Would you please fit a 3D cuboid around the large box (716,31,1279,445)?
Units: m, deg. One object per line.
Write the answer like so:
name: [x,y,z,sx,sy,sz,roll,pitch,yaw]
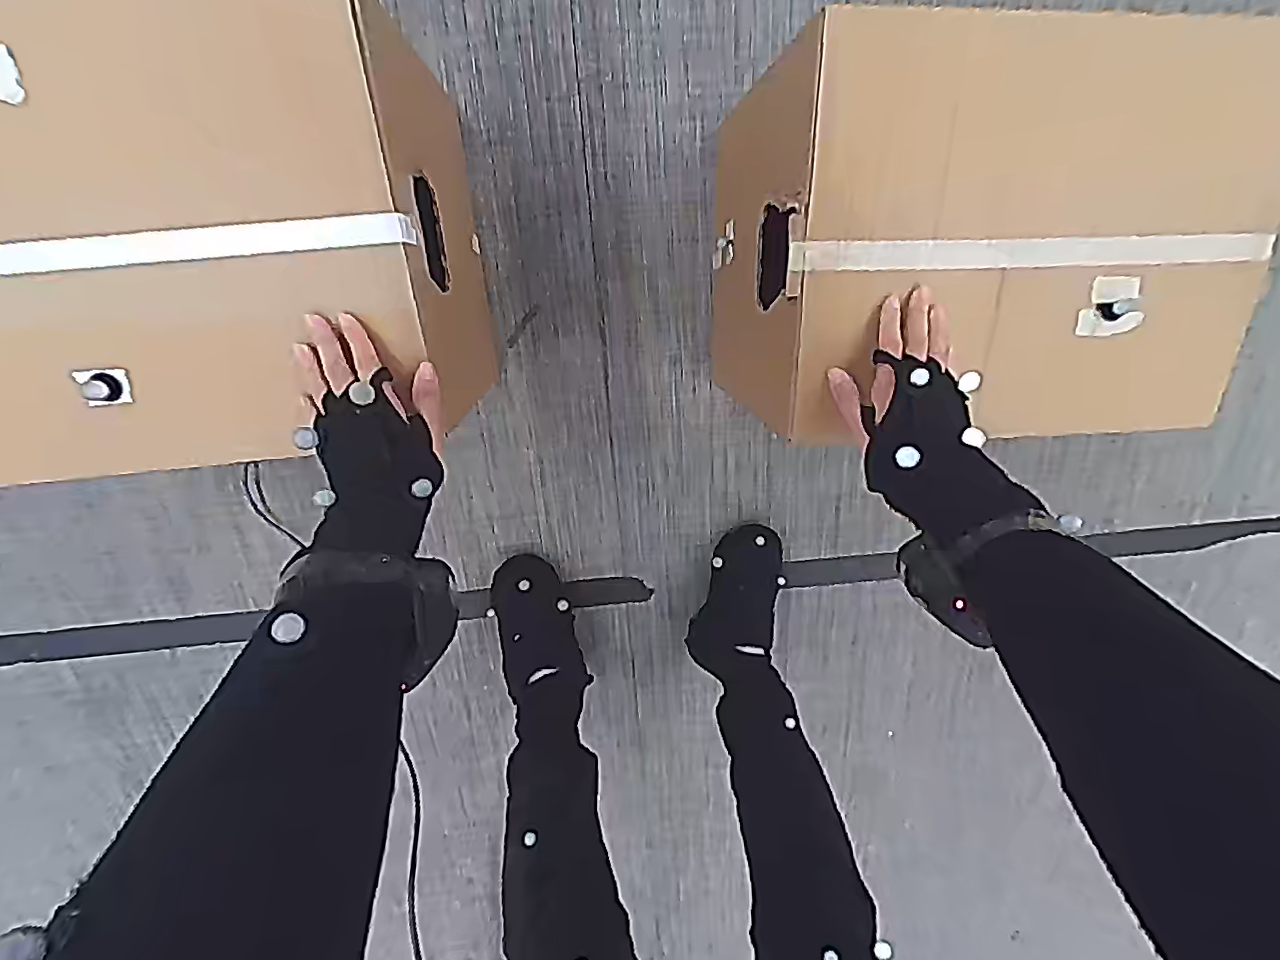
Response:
large box: [0.313,-0.235,0.594,0.408,0.320,0.320,-3,110,-6]
